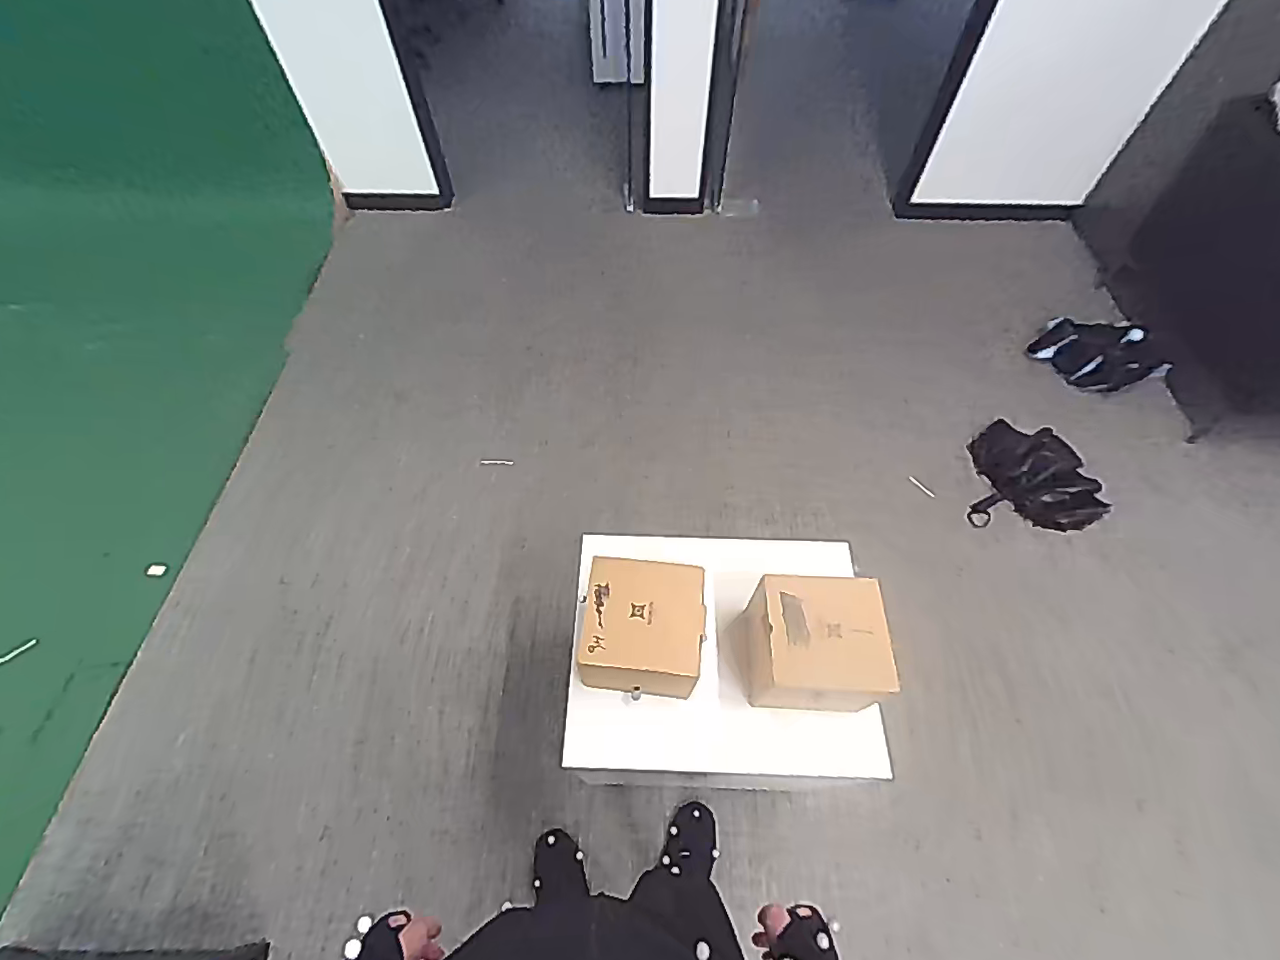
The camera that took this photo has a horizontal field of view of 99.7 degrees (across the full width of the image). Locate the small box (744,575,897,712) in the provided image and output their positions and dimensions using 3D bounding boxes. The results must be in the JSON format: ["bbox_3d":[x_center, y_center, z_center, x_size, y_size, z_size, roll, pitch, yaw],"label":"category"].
[{"bbox_3d":[0.263,0.259,0.842,0.179,0.176,0.168,3,58,-2],"label":"small box"}]
